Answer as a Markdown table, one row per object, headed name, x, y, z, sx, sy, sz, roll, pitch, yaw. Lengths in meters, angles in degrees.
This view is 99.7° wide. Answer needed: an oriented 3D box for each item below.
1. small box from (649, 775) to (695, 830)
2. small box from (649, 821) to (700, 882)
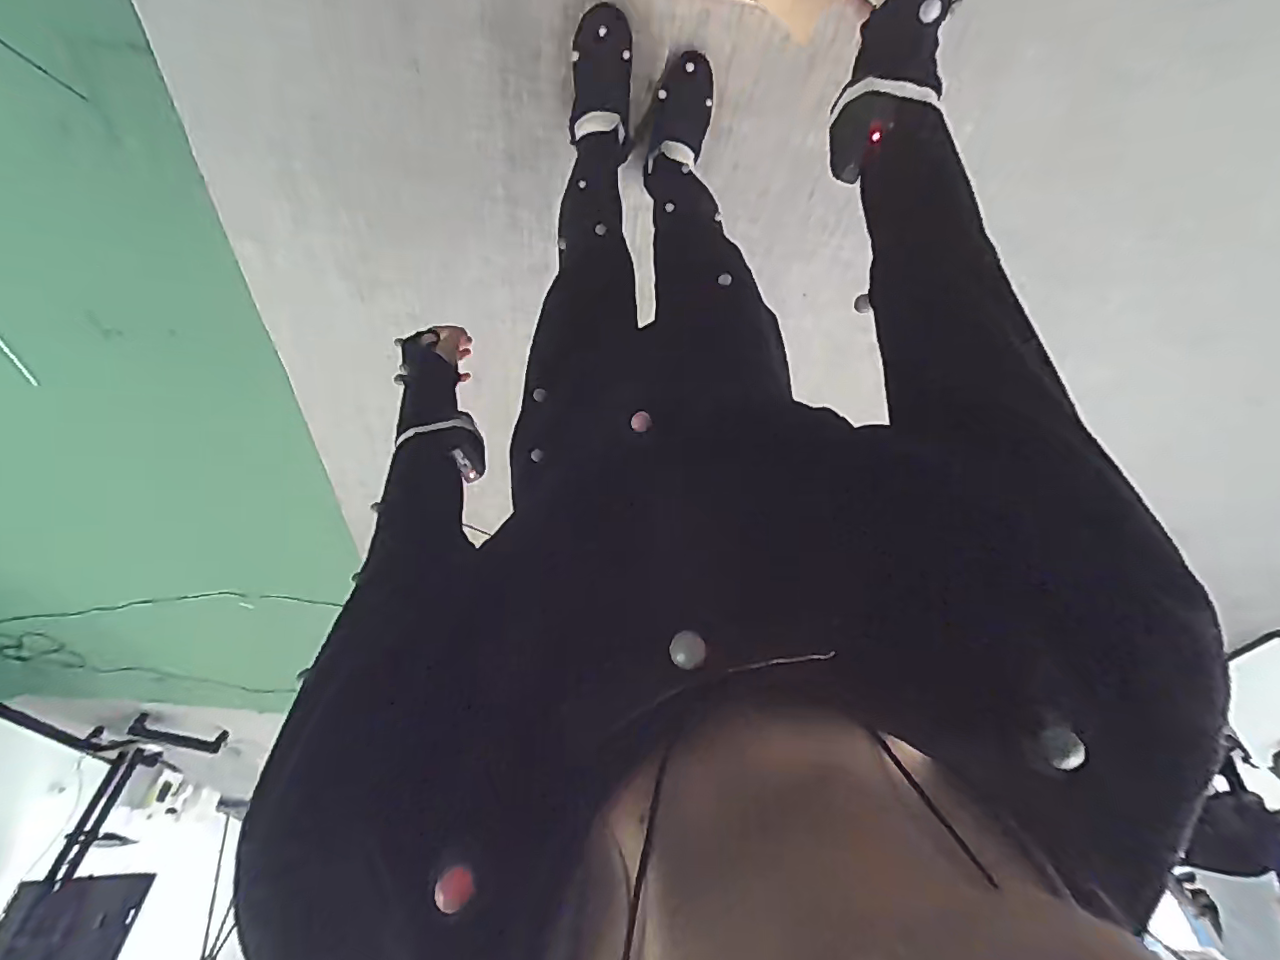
| name | x | y | z | sx | sy | sz | roll | pitch | yaw |
| --- | --- | --- | --- | --- | --- | --- | --- | --- | --- |
| small box | 0.126 | 1.300 | 2.175 | 0.168 | 0.176 | 0.179 | 4 | 139 | -1 |
| small box | 0.127 | 1.407 | 2.049 | 0.179 | 0.176 | 0.168 | 3 | 139 | -1 |
